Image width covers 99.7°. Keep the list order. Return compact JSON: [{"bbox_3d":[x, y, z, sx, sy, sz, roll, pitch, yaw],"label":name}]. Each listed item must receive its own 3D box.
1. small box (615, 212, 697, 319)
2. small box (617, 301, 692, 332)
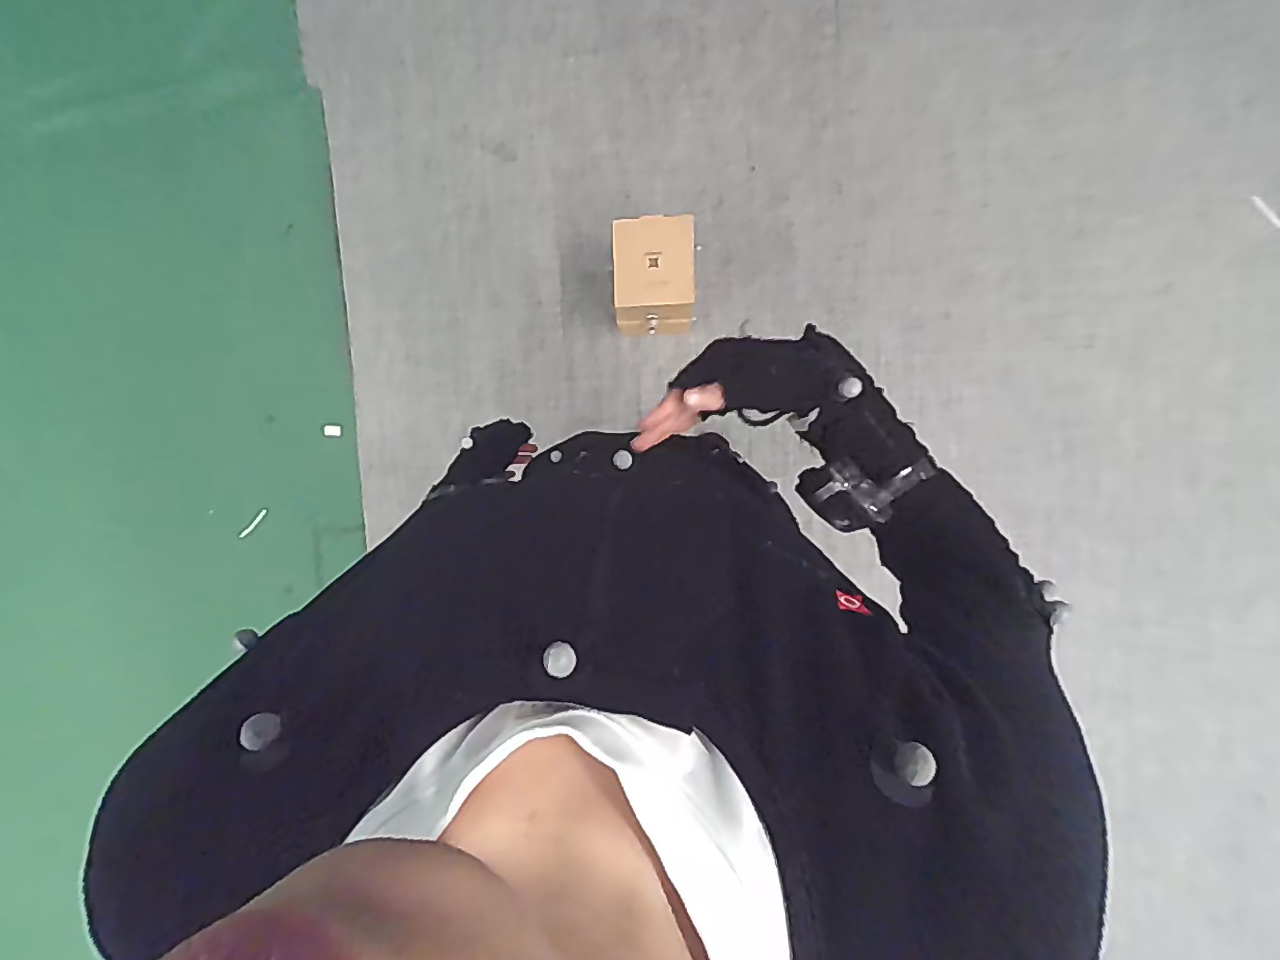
[{"bbox_3d":[0.039,-0.457,1.173,0.168,0.176,0.179,-1,96,7],"label":"small box"},{"bbox_3d":[0.040,-0.463,1.335,0.179,0.176,0.168,0,95,6],"label":"small box"}]
